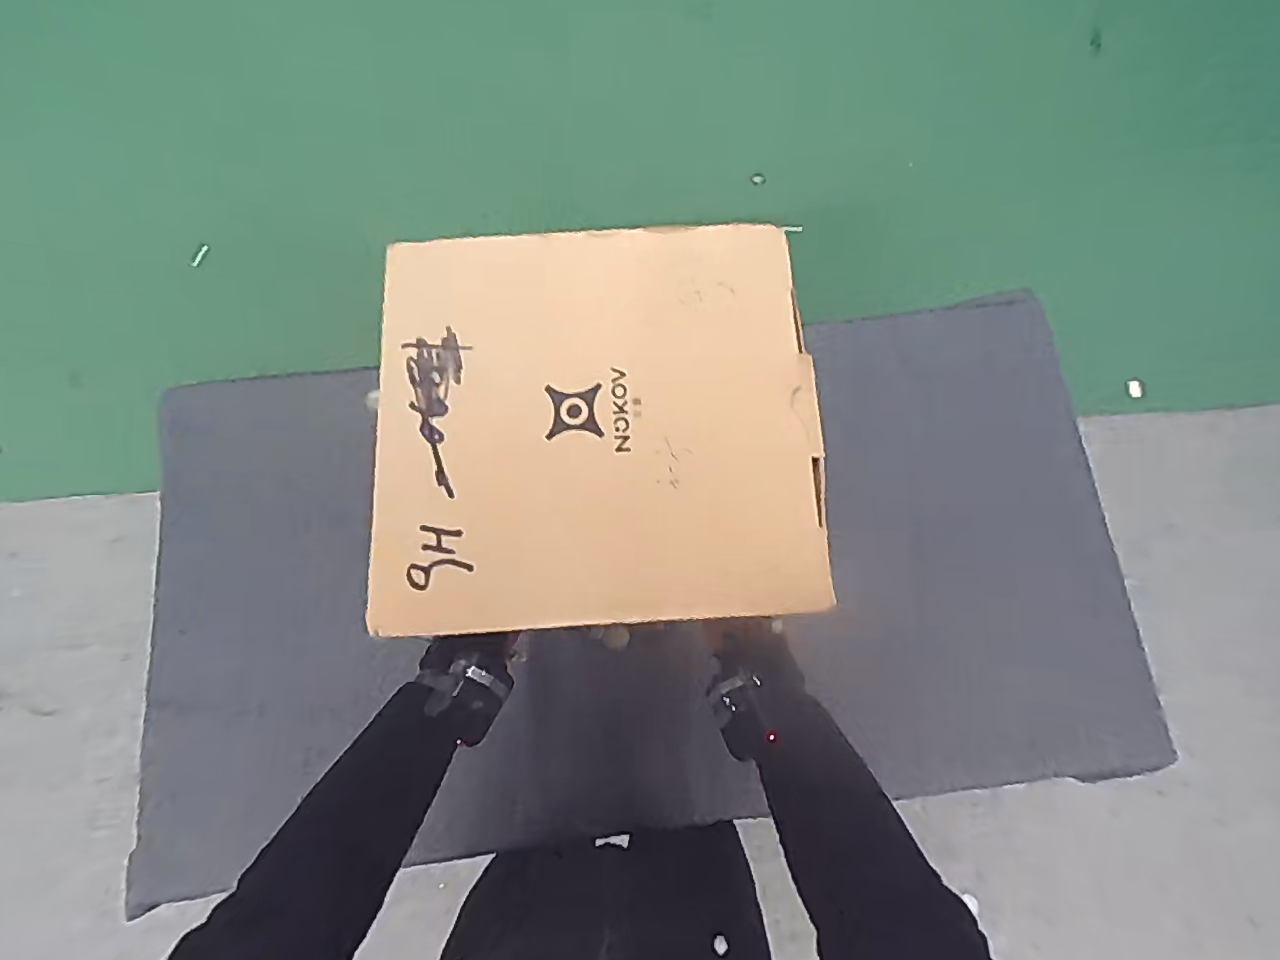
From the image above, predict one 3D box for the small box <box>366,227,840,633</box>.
[{"bbox_3d":[-0.018,-0.009,0.292,0.179,0.176,0.168,-3,76,-2],"label":"small box"}]
